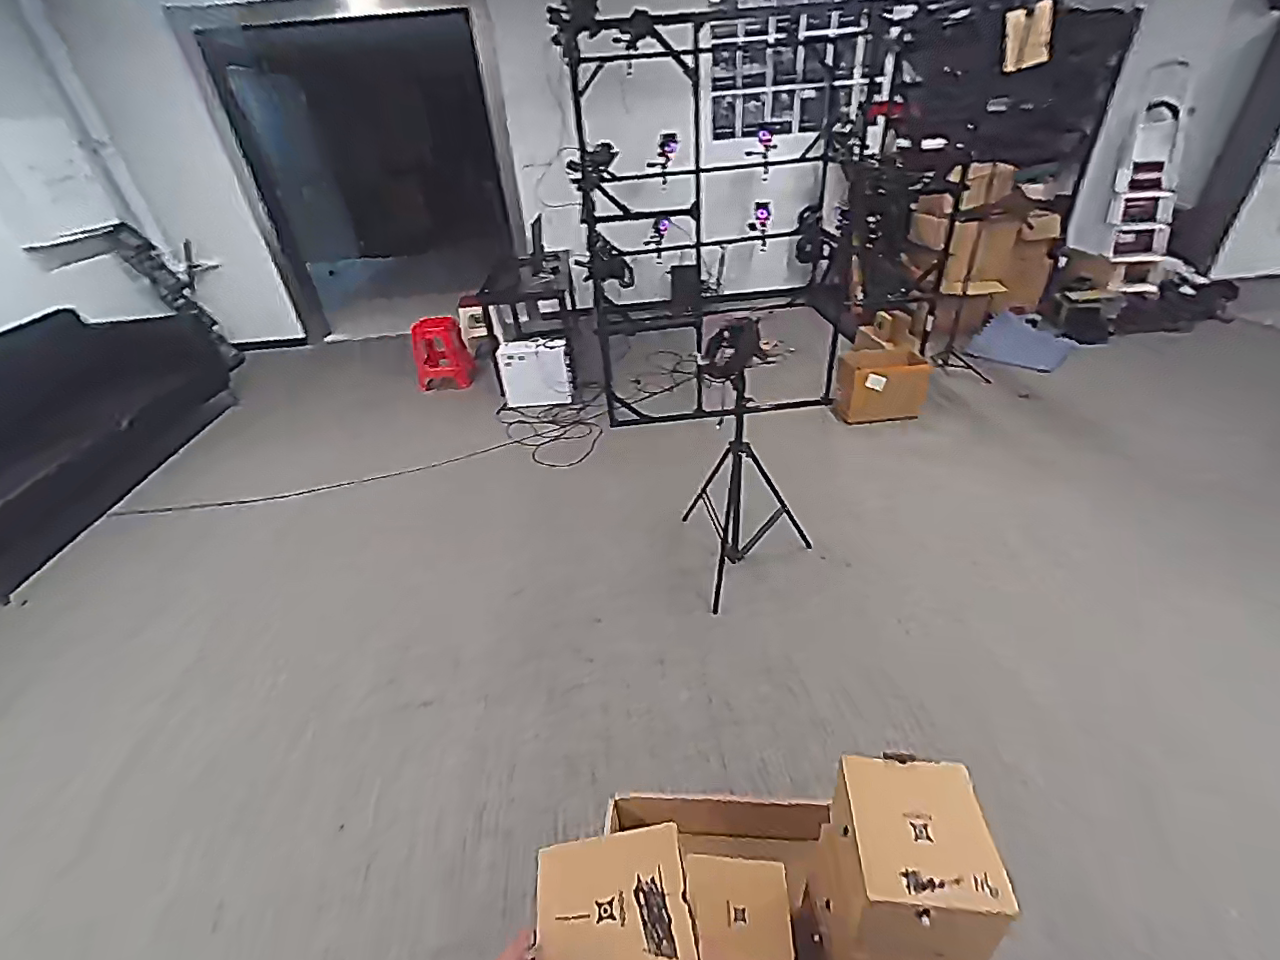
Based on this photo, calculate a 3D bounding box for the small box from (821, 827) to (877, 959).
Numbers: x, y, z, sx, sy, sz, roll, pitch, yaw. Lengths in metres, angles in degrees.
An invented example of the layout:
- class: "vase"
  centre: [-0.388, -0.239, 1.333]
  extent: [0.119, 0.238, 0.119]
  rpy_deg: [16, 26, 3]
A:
- class: "small box"
  centre: [0.374, 0.641, 0.801]
  extent: [0.179, 0.176, 0.168]
  rpy_deg: [-3, 33, 4]

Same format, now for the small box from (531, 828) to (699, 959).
- class: "small box"
  centre: [-0.025, 0.552, 0.634]
  extent: [0.179, 0.176, 0.168]
  rpy_deg: [-9, 28, -4]

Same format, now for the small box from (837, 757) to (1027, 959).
- class: "small box"
  centre: [0.363, 0.502, 0.715]
  extent: [0.168, 0.176, 0.179]
  rpy_deg: [-1, 33, 10]

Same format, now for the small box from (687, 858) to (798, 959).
- class: "small box"
  centre: [0.166, 0.780, 0.921]
  extent: [0.179, 0.176, 0.168]
  rpy_deg: [0, 34, 7]
